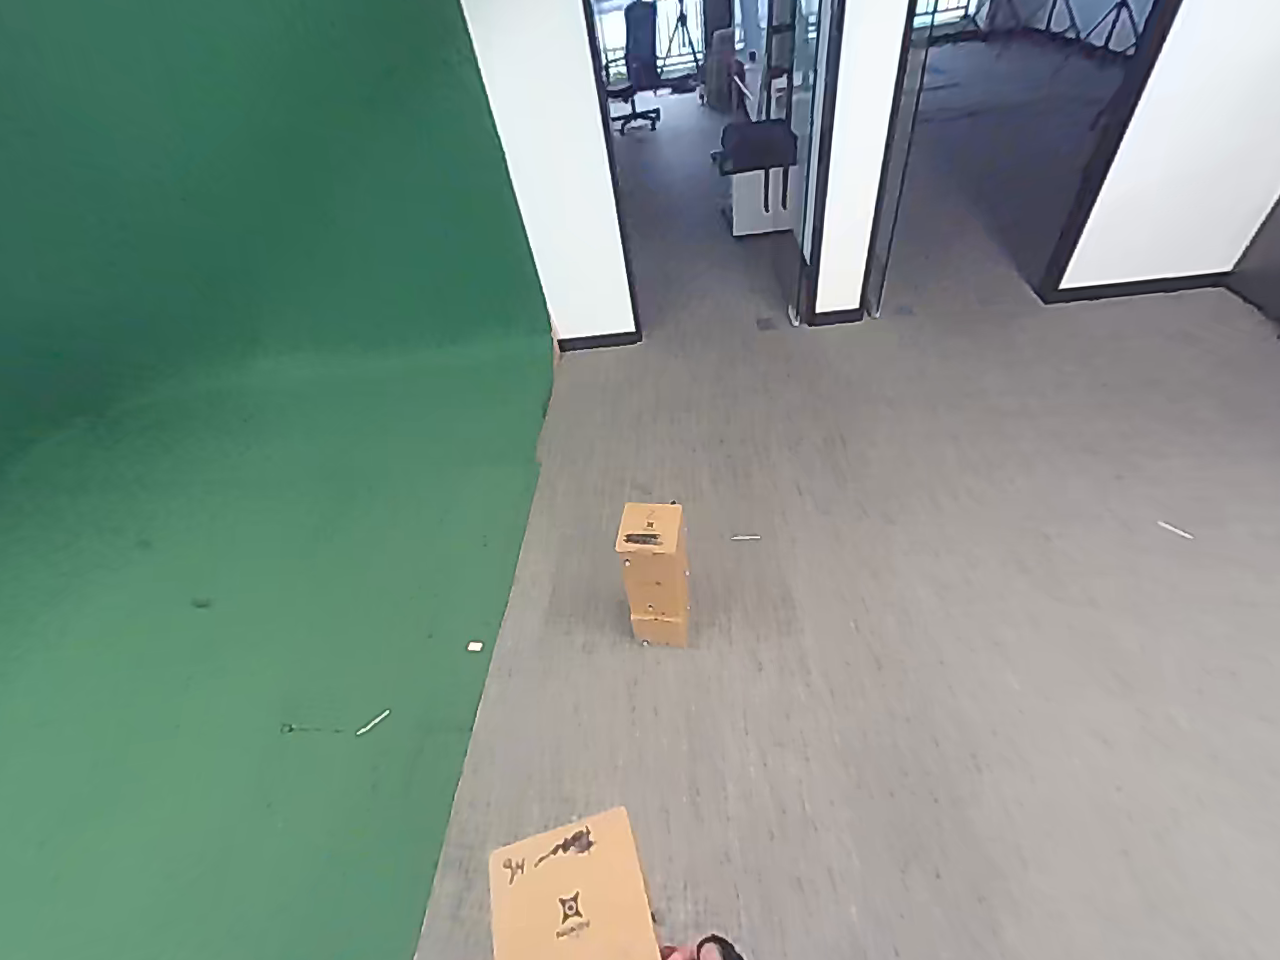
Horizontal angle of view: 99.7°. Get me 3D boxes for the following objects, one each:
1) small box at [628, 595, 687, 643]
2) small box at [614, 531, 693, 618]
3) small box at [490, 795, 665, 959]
[{"bbox_3d":[0.064,0.416,1.766,0.168,0.176,0.179,1,46,11],"label":"small box"},{"bbox_3d":[0.045,0.295,1.671,0.179,0.176,0.168,27,58,32],"label":"small box"},{"bbox_3d":[-0.068,0.504,0.628,0.168,0.176,0.179,-13,45,-7],"label":"small box"}]
